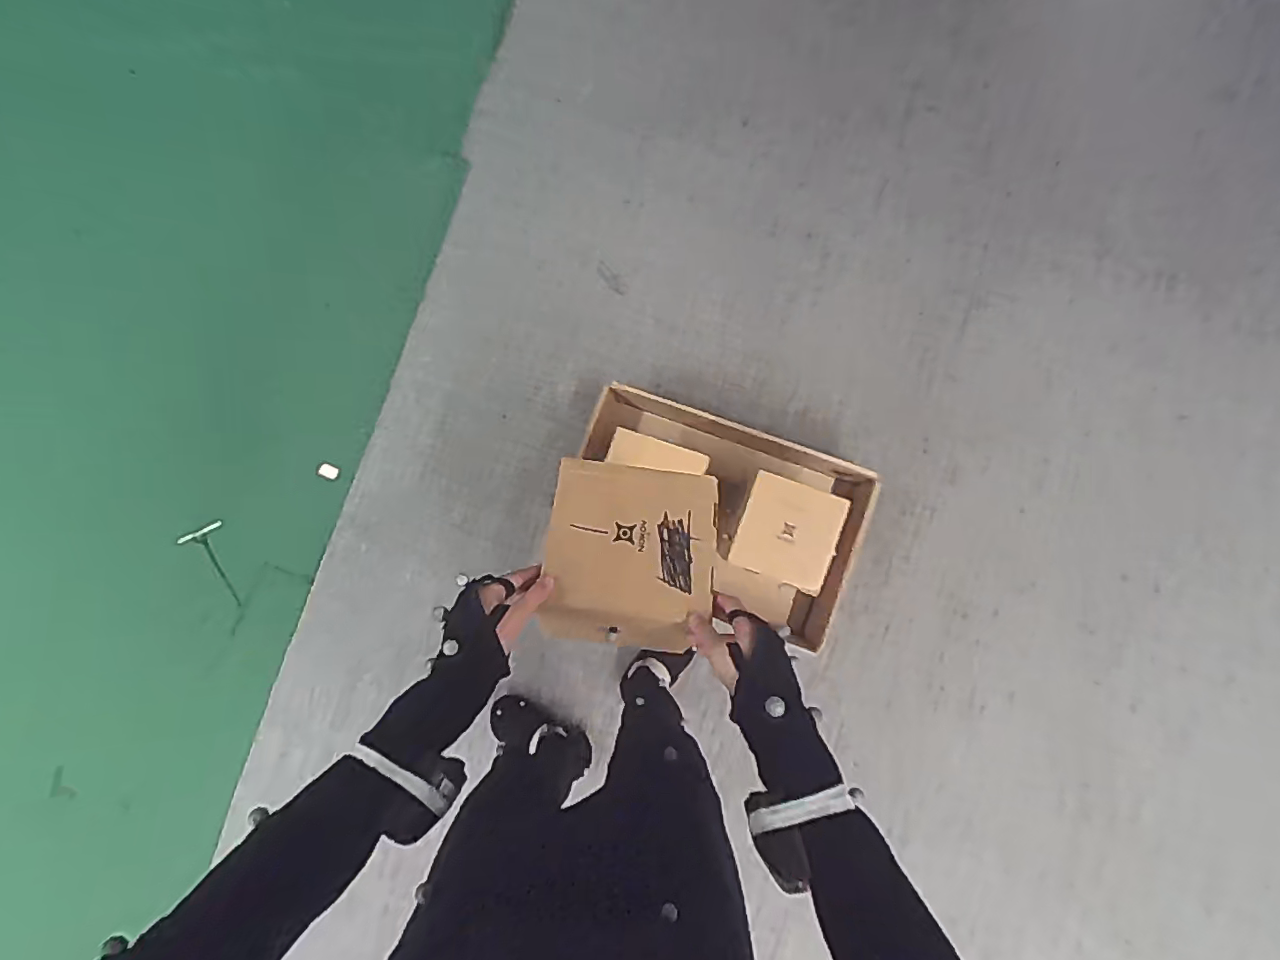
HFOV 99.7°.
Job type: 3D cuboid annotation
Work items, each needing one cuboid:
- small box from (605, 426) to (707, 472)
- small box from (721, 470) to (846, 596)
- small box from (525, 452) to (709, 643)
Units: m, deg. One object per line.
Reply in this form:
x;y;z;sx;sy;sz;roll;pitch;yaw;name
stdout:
0.018;0.014;1.041;0.179;0.176;0.168;19;86;5;small box
0.257;0.097;1.014;0.168;0.176;0.179;21;86;6;small box
-0.025;0.088;0.633;0.179;0.176;0.168;7;62;-1;small box
